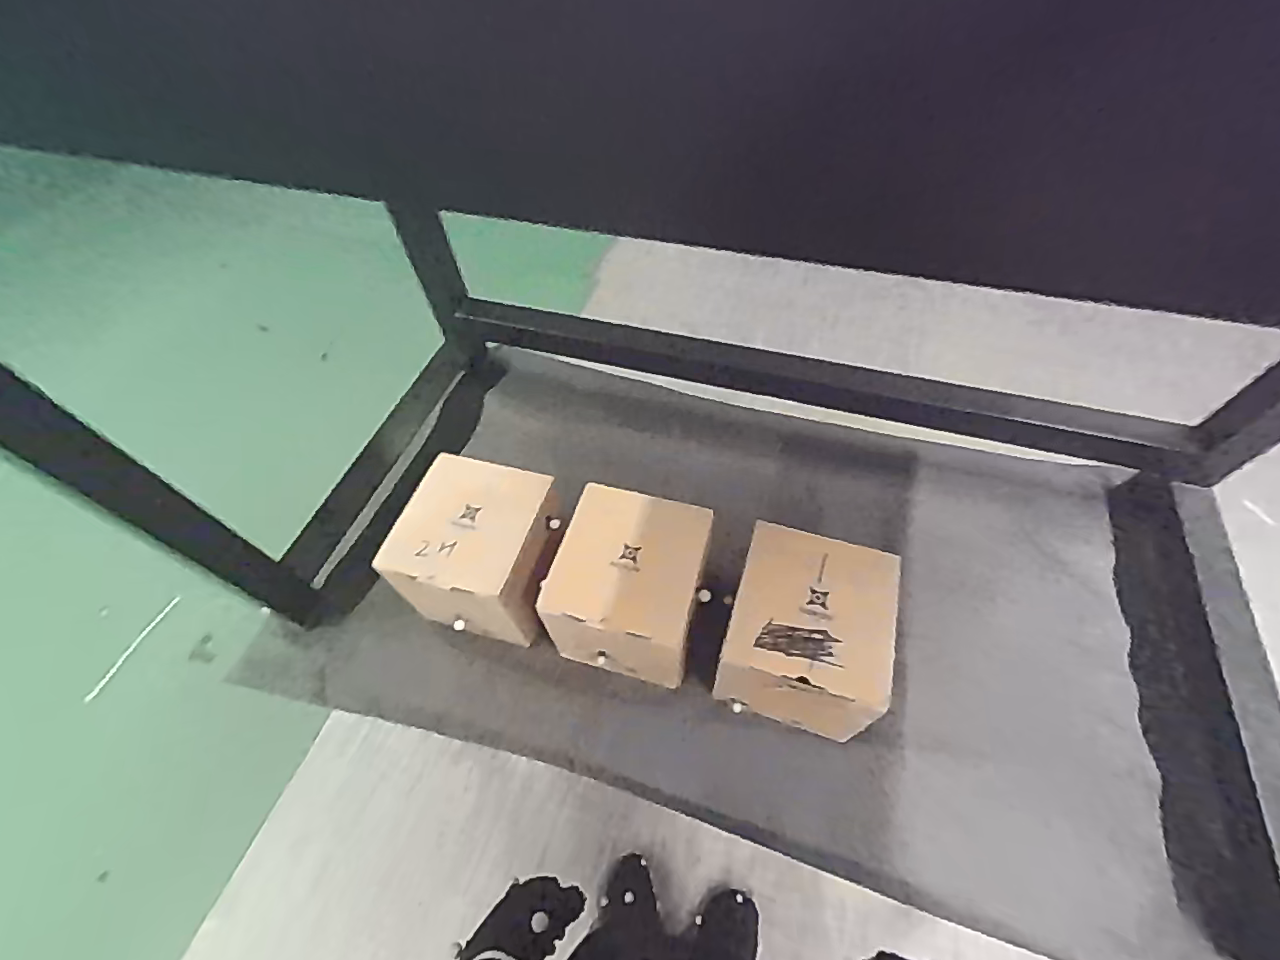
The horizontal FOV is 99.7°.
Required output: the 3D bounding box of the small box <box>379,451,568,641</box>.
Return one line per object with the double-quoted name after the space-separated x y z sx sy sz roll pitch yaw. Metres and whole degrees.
-0.206 0.091 0.731 0.168 0.176 0.179 12 57 11 "small box"
